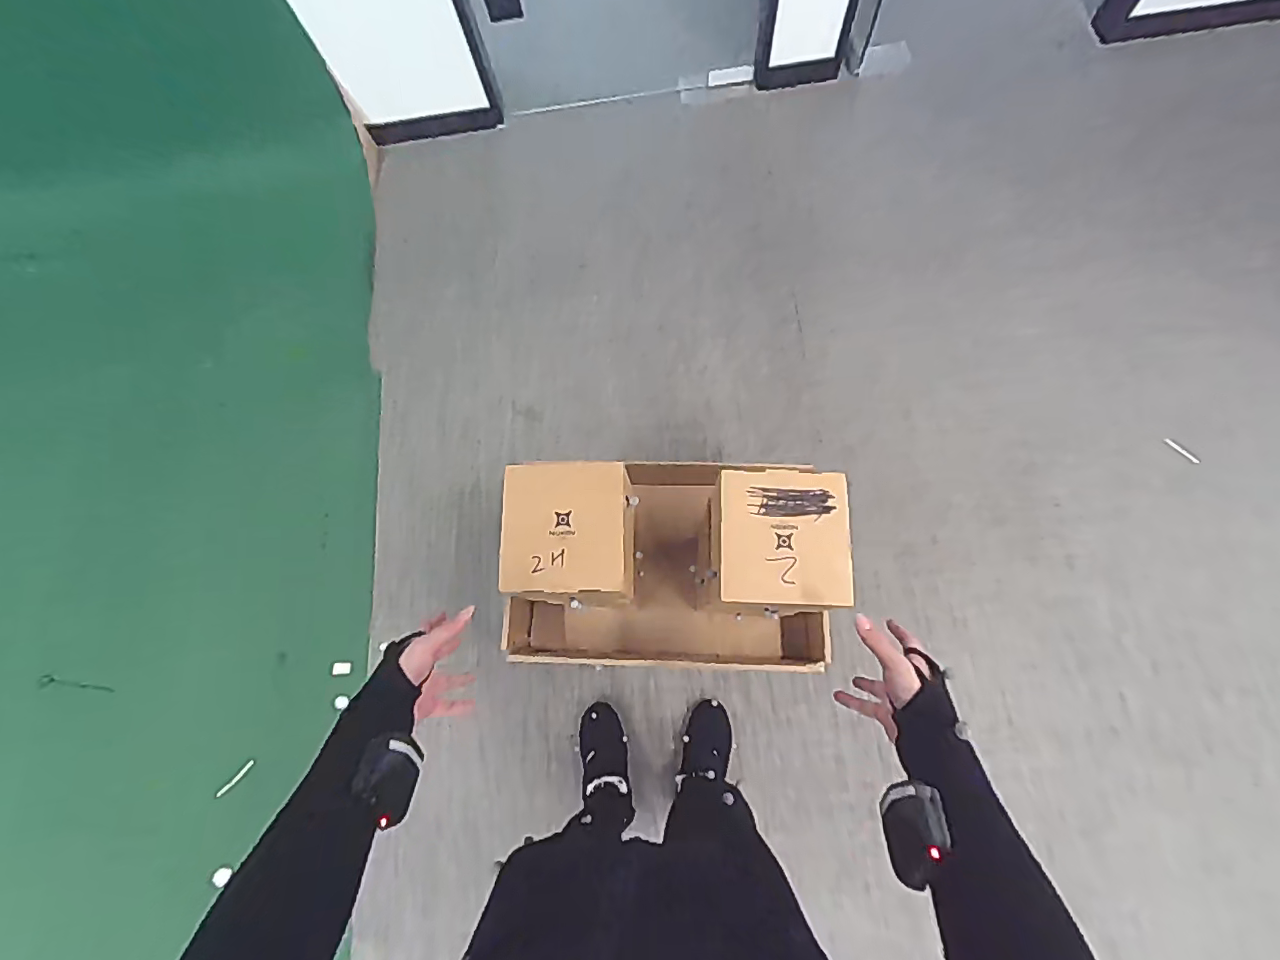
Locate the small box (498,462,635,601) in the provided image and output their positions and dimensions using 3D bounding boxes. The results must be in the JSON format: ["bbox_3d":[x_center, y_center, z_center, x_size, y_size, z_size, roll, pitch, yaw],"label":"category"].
[{"bbox_3d":[-0.098,0.083,0.798,0.168,0.176,0.179,-2,74,4],"label":"small box"}]

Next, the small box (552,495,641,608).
[{"bbox_3d":[-0.089,0.127,0.956,0.168,0.176,0.179,2,74,5],"label":"small box"}]

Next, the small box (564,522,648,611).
[{"bbox_3d":[-0.081,0.176,1.112,0.179,0.176,0.168,4,74,5],"label":"small box"}]

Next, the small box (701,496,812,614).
[{"bbox_3d":[0.193,0.135,0.928,0.168,0.176,0.179,2,73,4],"label":"small box"}]
